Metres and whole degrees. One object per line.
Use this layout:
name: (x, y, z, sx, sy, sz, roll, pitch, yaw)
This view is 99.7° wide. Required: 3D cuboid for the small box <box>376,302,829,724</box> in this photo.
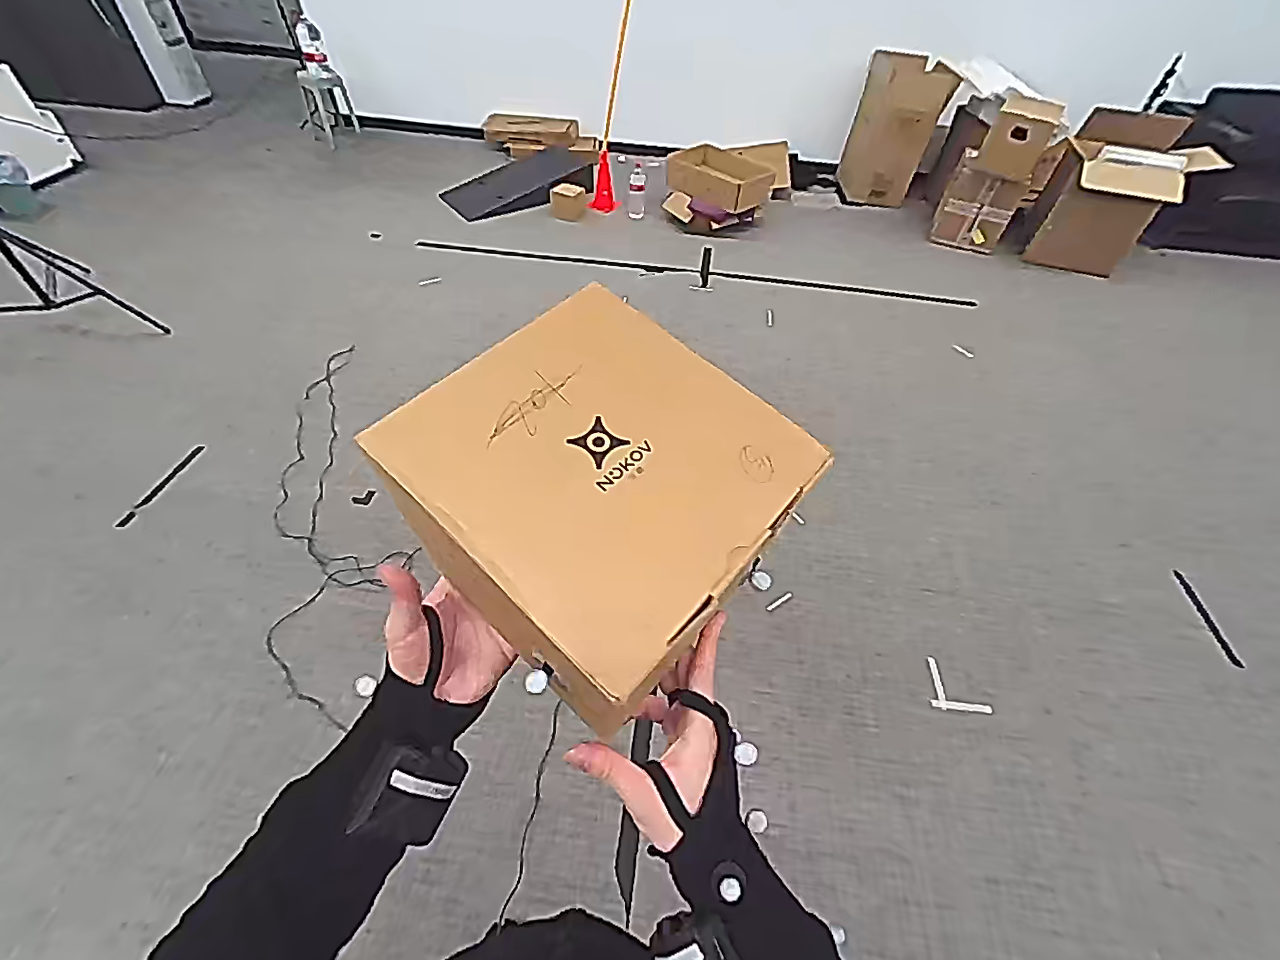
small box: (-0.022, 0.031, 0.346, 0.179, 0.176, 0.168, 39, 62, 16)
